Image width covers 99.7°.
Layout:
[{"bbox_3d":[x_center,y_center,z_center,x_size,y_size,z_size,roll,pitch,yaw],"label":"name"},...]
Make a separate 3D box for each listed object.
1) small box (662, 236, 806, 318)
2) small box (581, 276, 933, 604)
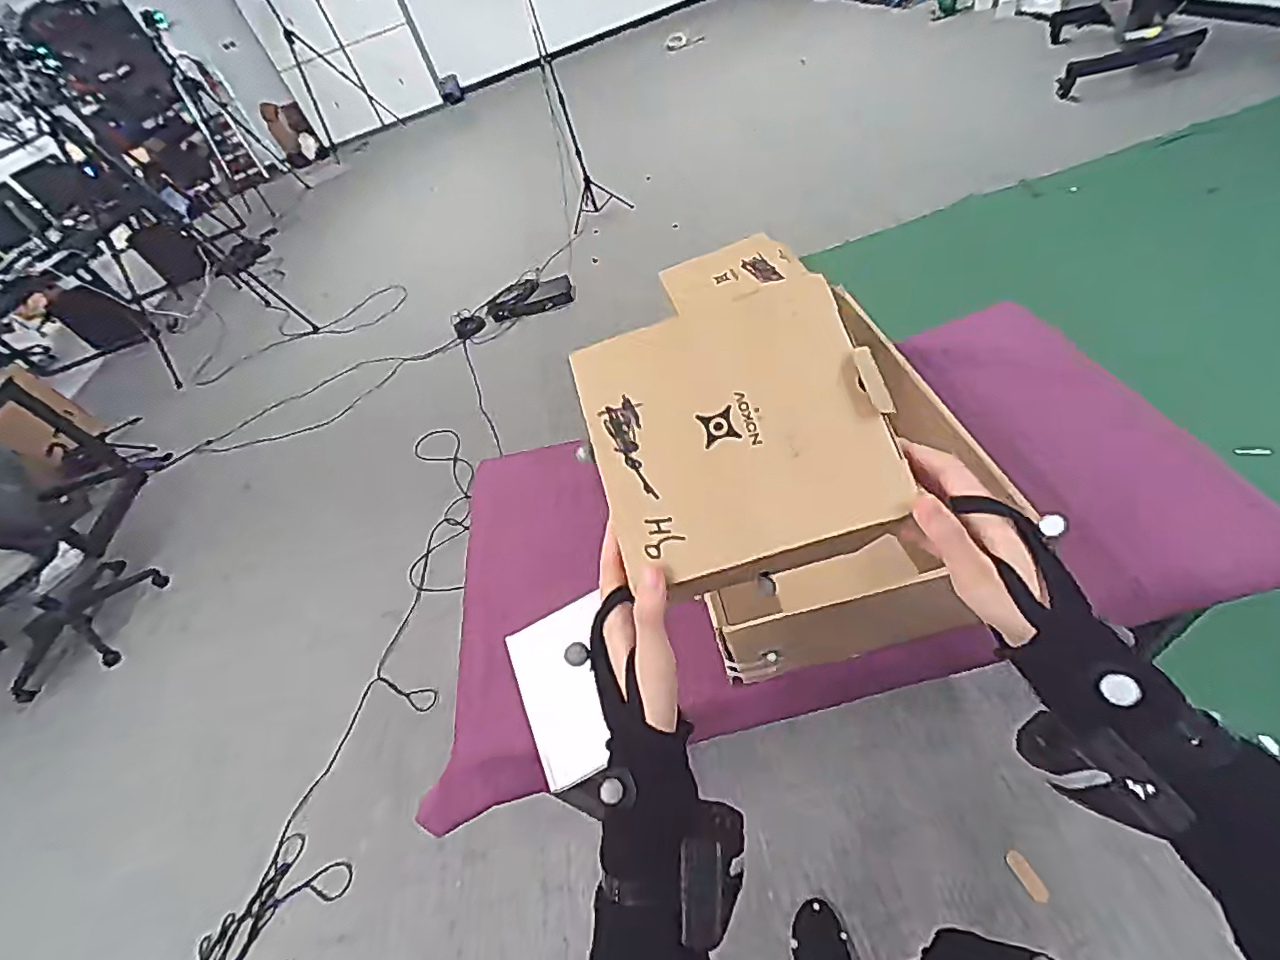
[{"bbox_3d":[0.149,-0.236,0.832,0.179,0.176,0.168,-19,47,3],"label":"small box"},{"bbox_3d":[0.071,-0.012,0.402,0.179,0.176,0.168,-16,72,2],"label":"small box"}]
